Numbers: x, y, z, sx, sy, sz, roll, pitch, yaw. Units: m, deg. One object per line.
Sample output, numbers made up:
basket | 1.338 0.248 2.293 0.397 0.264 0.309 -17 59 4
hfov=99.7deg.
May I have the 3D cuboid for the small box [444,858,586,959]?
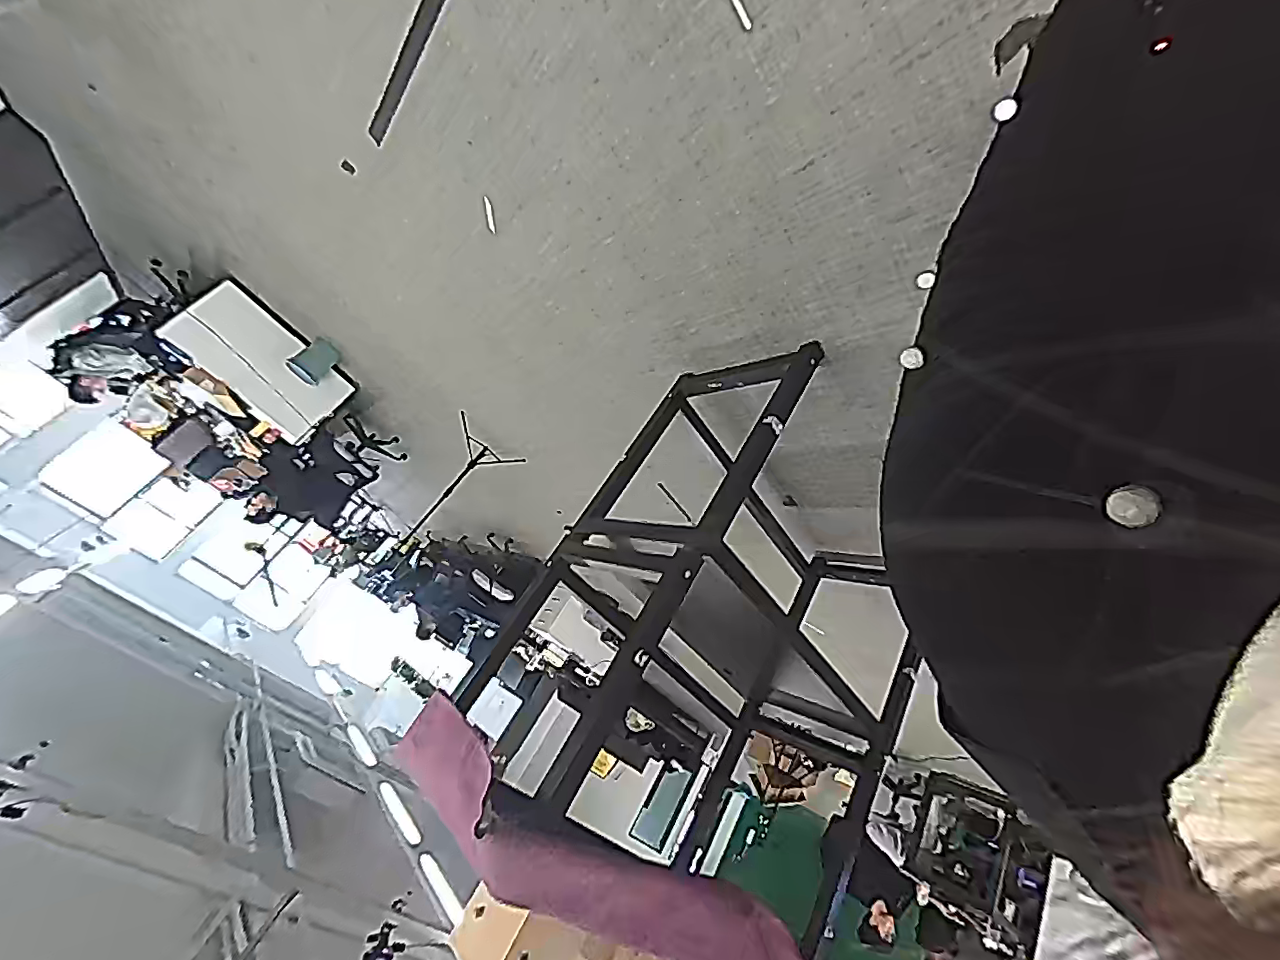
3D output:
small box | -0.245 0.894 1.073 0.168 0.176 0.179 3 143 50
